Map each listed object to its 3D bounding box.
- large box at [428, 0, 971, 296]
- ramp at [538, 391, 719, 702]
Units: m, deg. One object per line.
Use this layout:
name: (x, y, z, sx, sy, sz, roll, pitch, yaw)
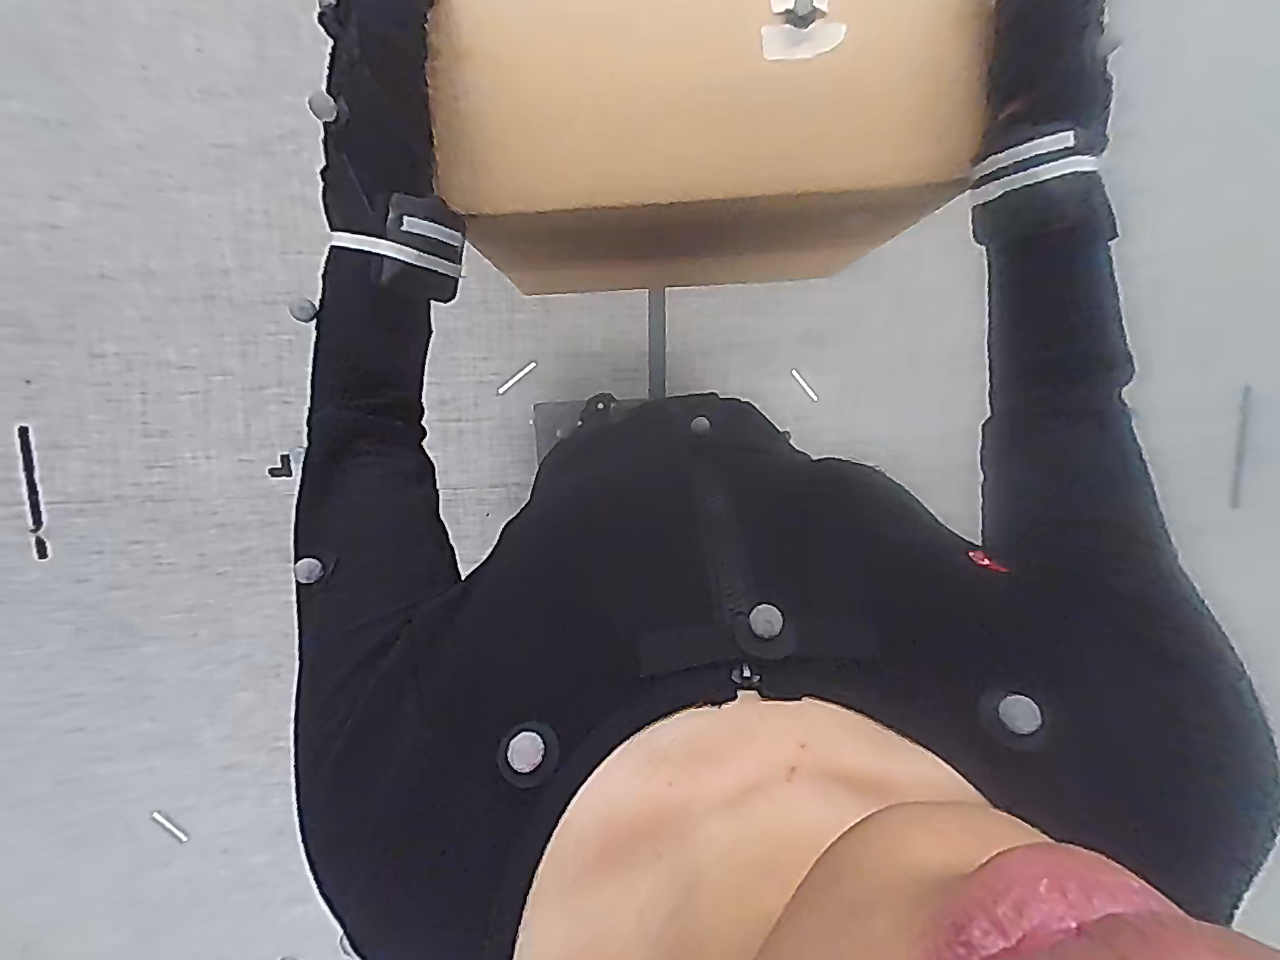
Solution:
large box: (0.039, -0.387, 0.540, 0.408, 0.320, 0.320, -4, 98, 0)
ramp: (-0.013, 0.238, 1.607, 0.509, 0.206, 0.991, -4, 99, -2)
